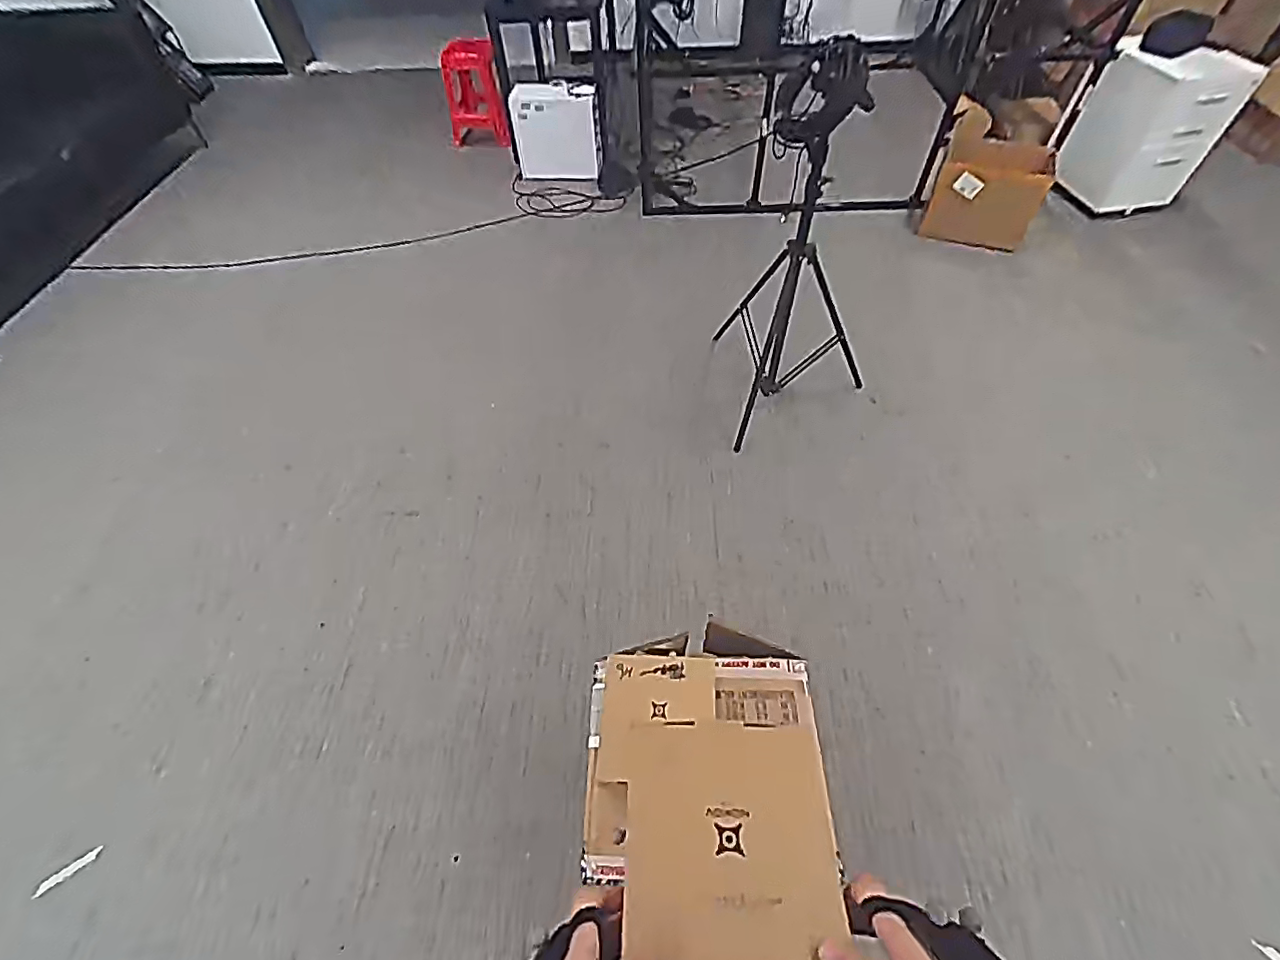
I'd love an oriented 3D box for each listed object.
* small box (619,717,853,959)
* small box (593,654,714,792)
[{"bbox_3d":[0.068,0.336,0.486,0.168,0.176,0.179,1,45,1],"label":"small box"},{"bbox_3d":[0.030,0.383,0.834,0.168,0.176,0.179,1,56,5],"label":"small box"}]
